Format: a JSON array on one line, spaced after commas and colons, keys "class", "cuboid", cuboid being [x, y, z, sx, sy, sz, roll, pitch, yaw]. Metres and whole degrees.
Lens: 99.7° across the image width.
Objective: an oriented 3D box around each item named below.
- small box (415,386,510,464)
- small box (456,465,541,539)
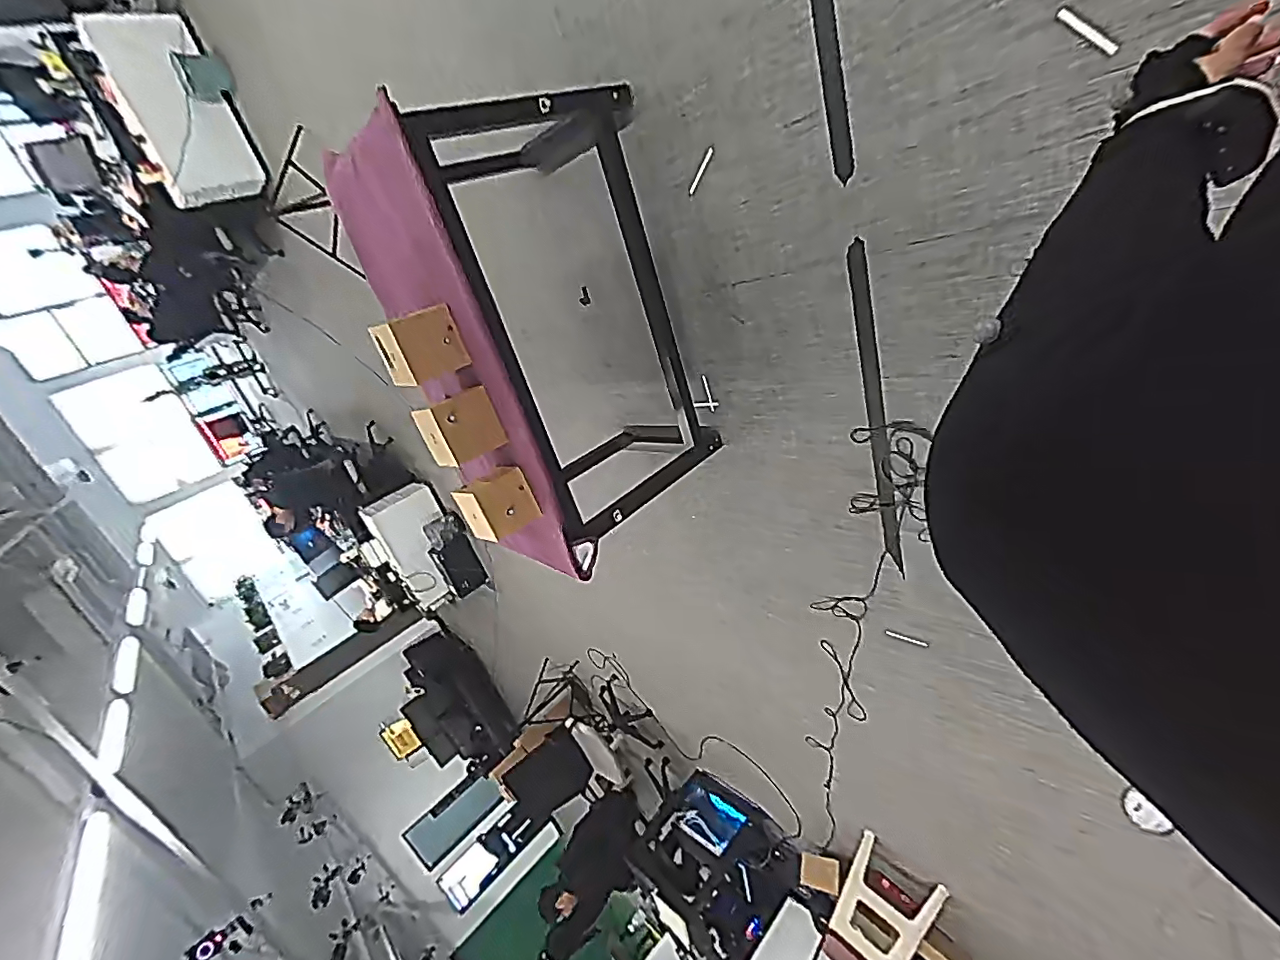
[{"class": "small box", "cuboid": [-0.505, -0.161, 1.548, 0.168, 0.176, 0.179, 5, 122, 52]}, {"class": "small box", "cuboid": [-0.424, 0.061, 1.646, 0.179, 0.176, 0.168, 1, 119, 53]}]
